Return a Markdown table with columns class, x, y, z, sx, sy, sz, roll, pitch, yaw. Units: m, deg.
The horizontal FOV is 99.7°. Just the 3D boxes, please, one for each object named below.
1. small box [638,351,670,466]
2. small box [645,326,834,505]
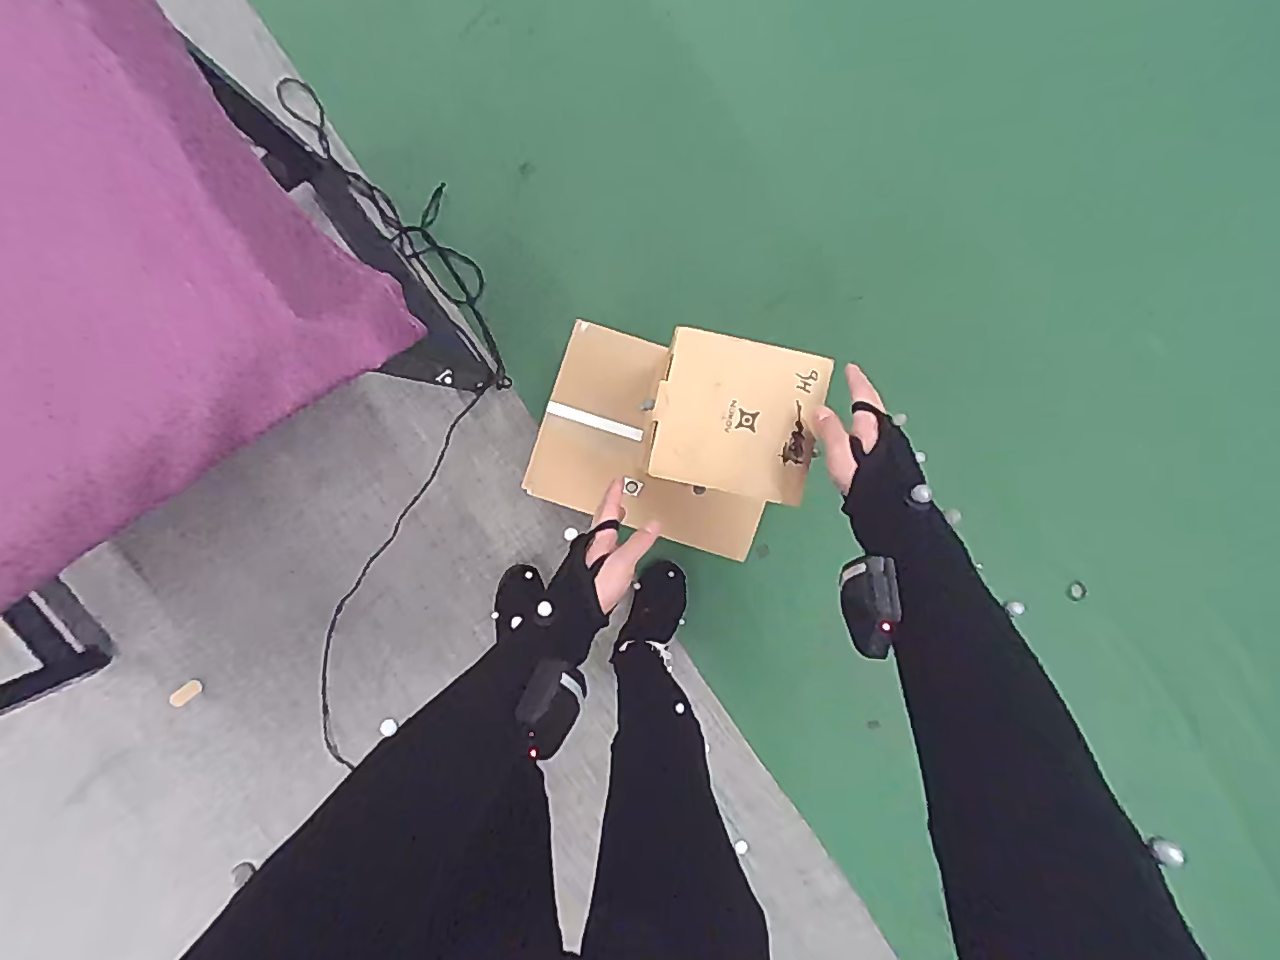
| class | x | y | z | sx | sy | sz | roll | pitch | yaw |
| --- | --- | --- | --- | --- | --- | --- | --- | --- | --- |
| small box | 0.098 | -0.086 | 0.827 | 0.179 | 0.176 | 0.168 | 12 | 94 | -1 |
| small box | 0.109 | -0.073 | 0.664 | 0.179 | 0.176 | 0.168 | 13 | 94 | 0 |
